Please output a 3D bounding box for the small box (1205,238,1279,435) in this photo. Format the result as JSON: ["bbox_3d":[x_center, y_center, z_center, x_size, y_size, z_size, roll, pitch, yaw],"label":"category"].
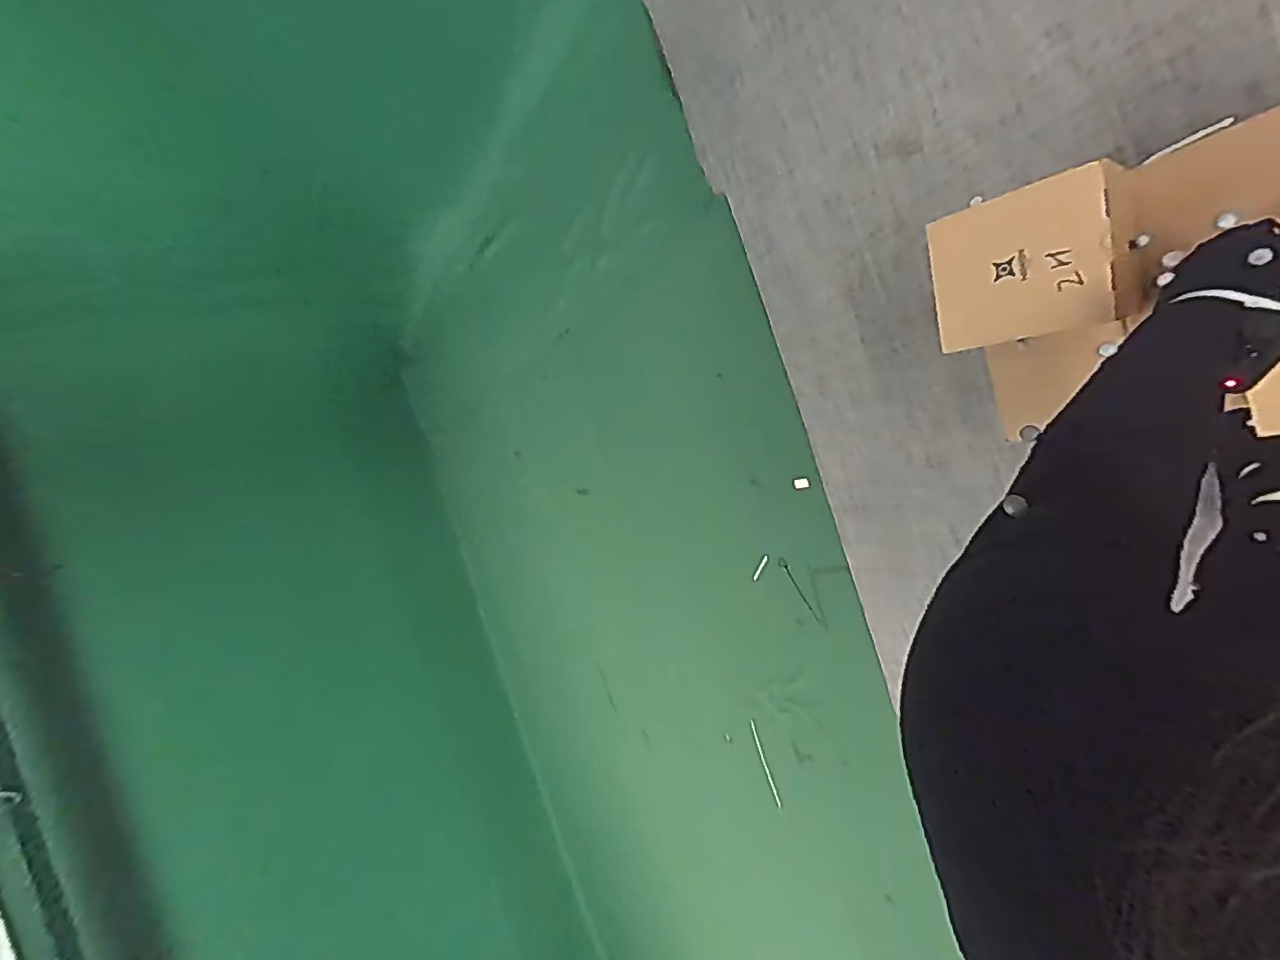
[{"bbox_3d":[0.674,-0.157,0.506,0.168,0.176,0.179,-14,93,52],"label":"small box"}]

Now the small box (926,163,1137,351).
[{"bbox_3d":[0.492,-0.265,0.681,0.179,0.176,0.168,-2,103,50],"label":"small box"}]
